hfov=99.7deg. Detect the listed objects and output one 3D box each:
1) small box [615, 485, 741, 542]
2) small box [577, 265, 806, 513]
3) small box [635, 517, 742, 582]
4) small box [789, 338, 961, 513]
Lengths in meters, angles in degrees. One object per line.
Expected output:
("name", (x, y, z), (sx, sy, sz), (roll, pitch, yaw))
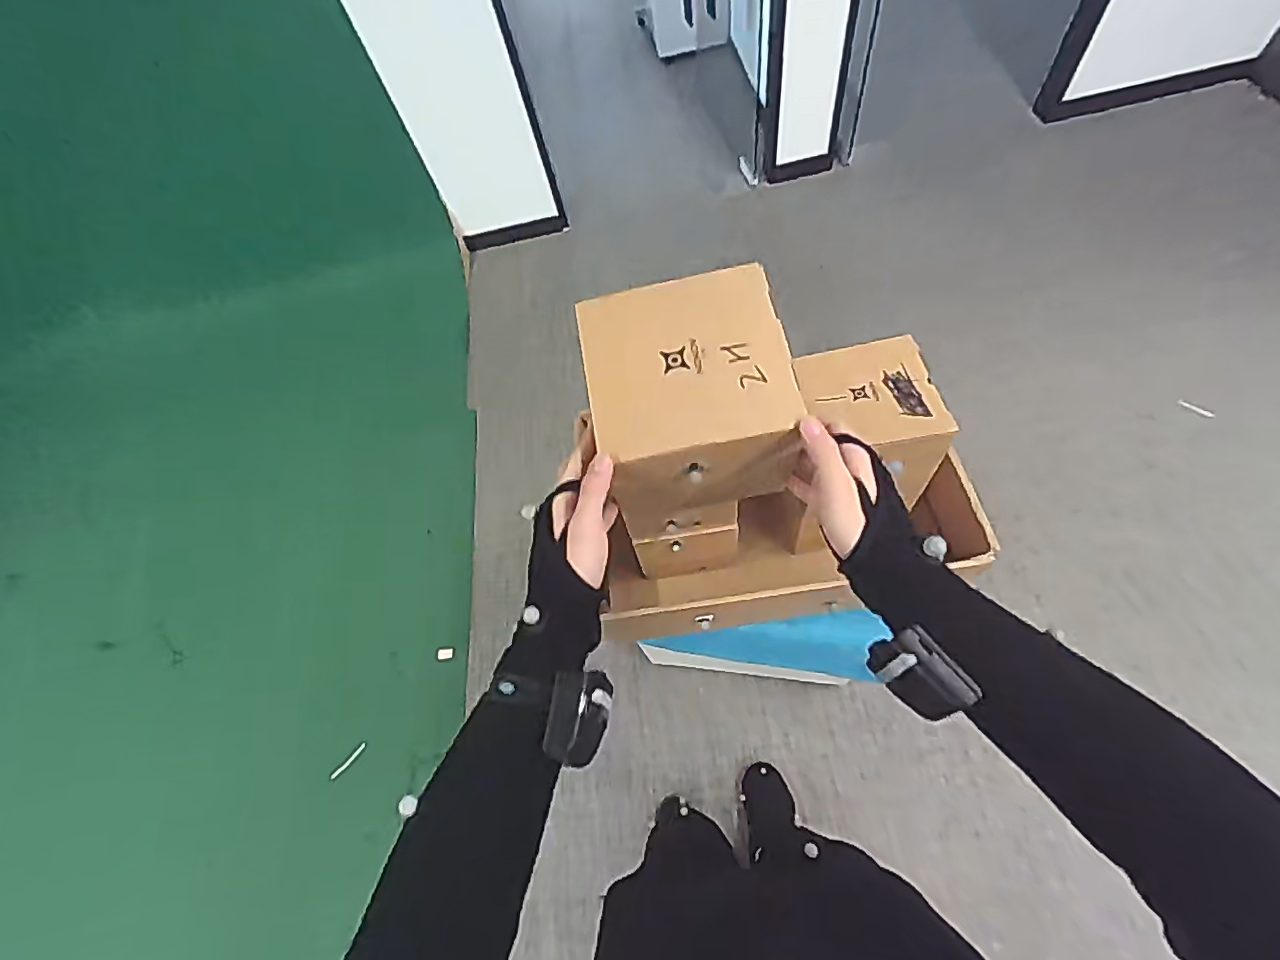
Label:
("small box", (0.052, -0.029, 0.798), (0.168, 0.176, 0.179), (-9, 59, 4))
("small box", (0.048, -0.076, 0.538), (0.179, 0.176, 0.168), (-11, 69, 3))
("small box", (0.078, 0.057, 0.934), (0.168, 0.176, 0.179), (-10, 58, 5))
("small box", (0.312, -0.070, 0.771), (0.179, 0.176, 0.168), (-10, 58, 6))
